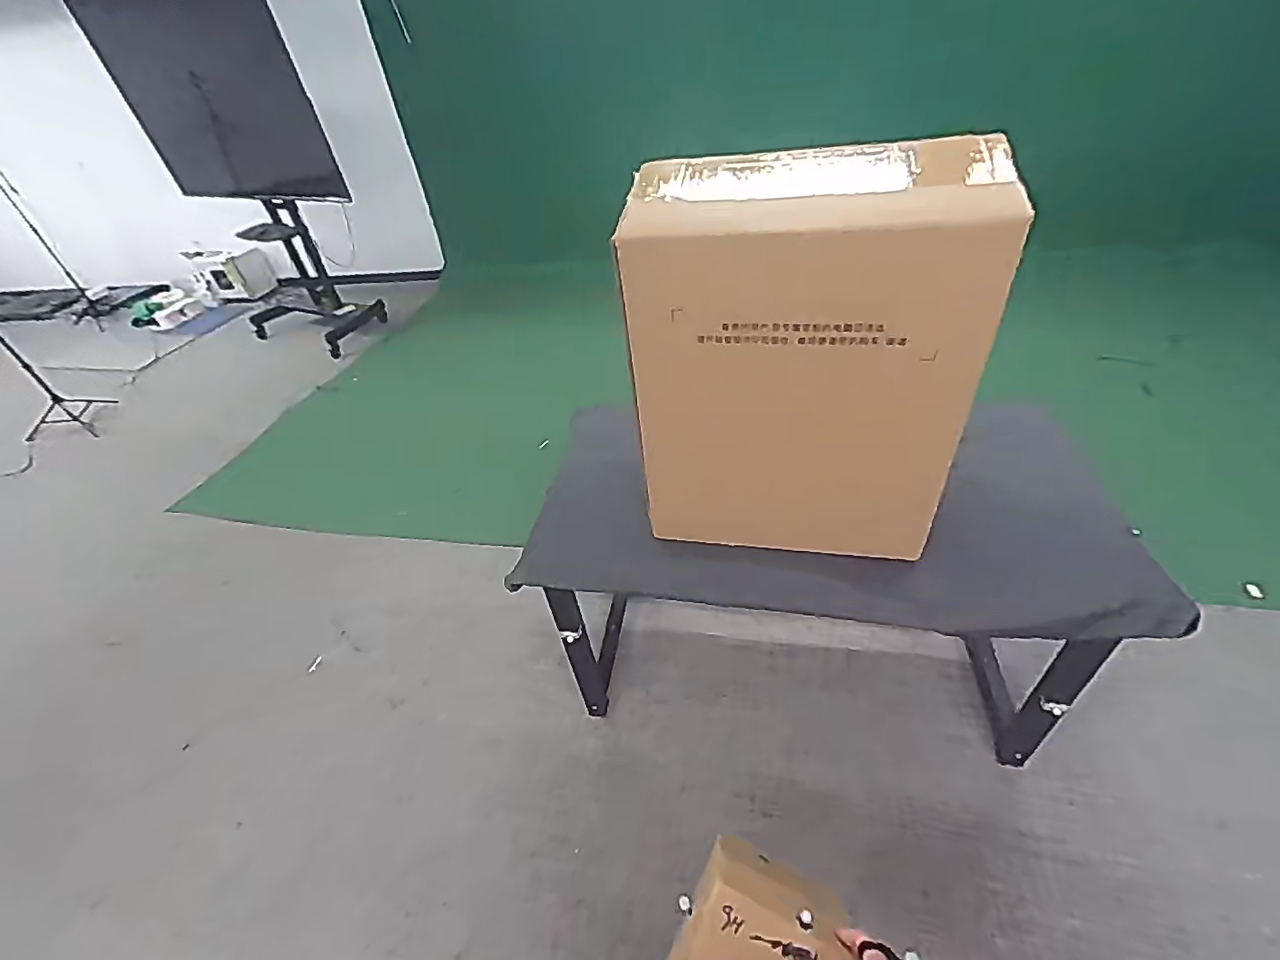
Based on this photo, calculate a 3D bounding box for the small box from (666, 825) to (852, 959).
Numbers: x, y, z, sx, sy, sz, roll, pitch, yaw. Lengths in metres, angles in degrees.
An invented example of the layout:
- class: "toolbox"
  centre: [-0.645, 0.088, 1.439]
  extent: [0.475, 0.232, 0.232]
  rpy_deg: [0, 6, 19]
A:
- class: "small box"
  centre: [0.130, 0.552, 0.627]
  extent: [0.168, 0.176, 0.179]
  rpy_deg: [24, 81, 16]
